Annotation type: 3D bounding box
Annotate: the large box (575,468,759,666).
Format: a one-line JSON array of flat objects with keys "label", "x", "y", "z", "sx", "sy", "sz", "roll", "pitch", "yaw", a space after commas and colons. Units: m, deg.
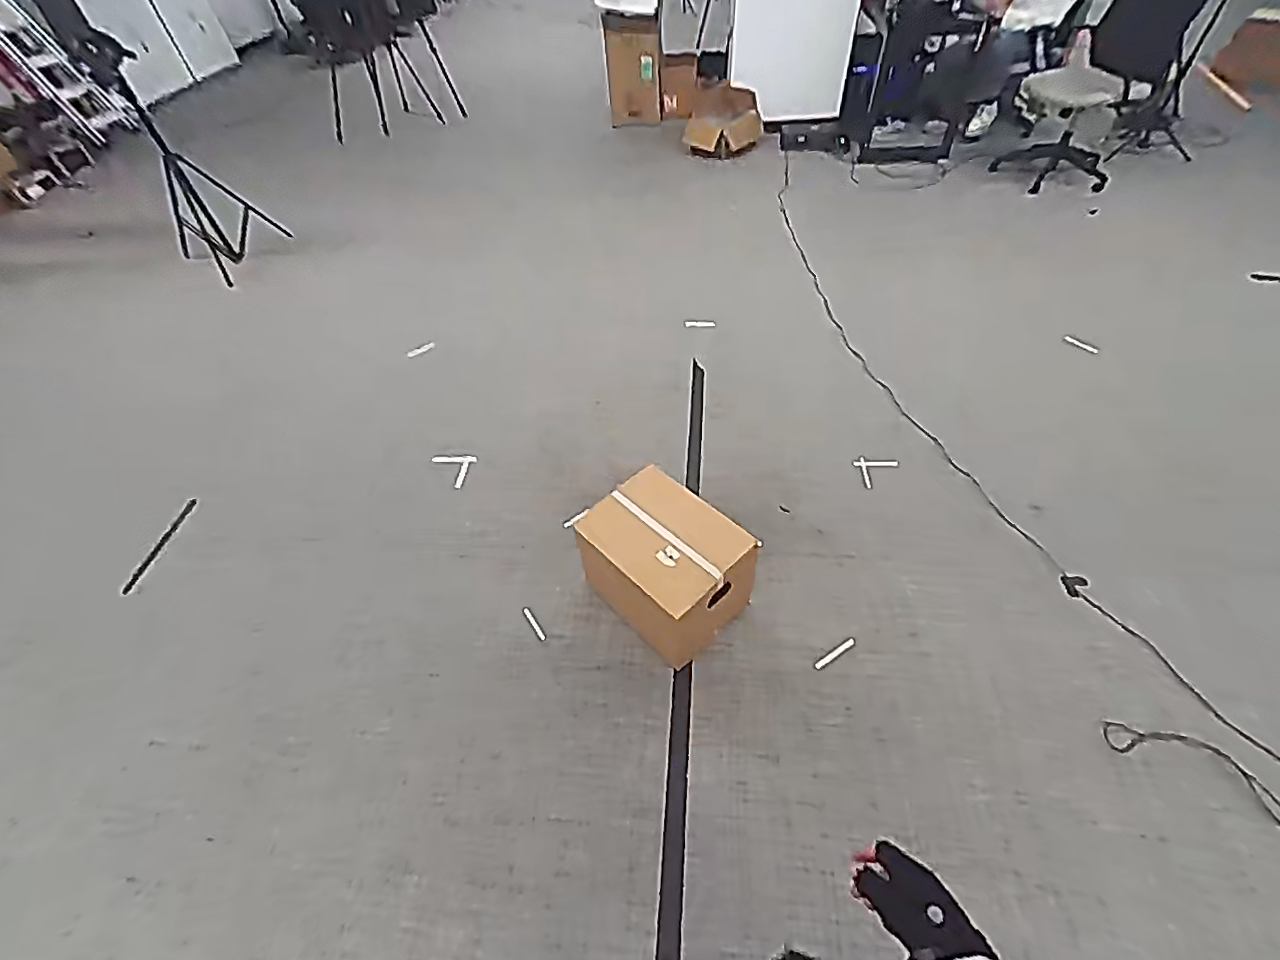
[{"label": "large box", "x": 0.070, "y": 0.243, "z": 1.552, "sx": 0.320, "sy": 0.320, "sz": 0.408, "roll": -38, "pitch": 57, "yaw": -25}]
